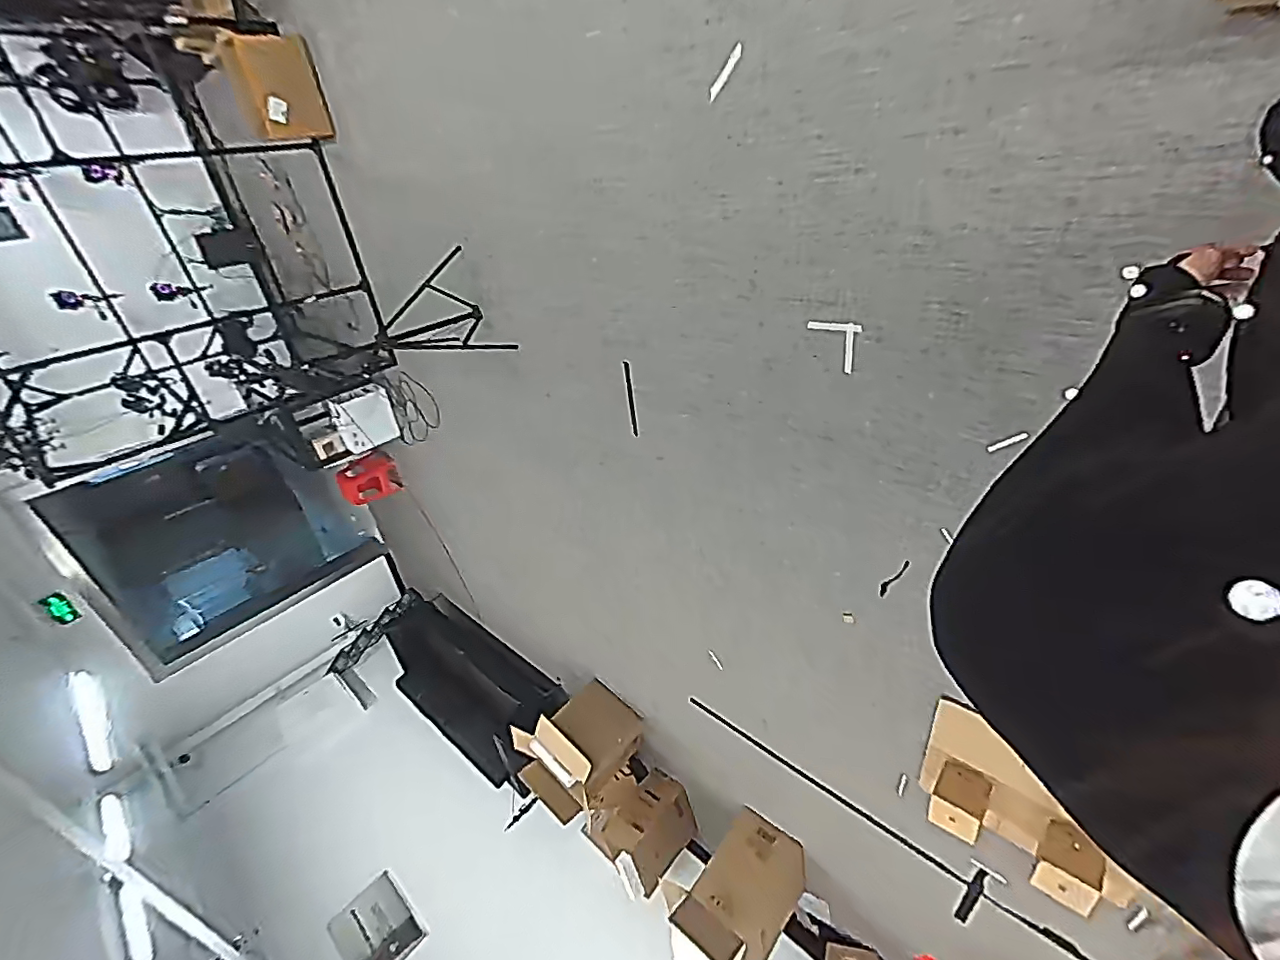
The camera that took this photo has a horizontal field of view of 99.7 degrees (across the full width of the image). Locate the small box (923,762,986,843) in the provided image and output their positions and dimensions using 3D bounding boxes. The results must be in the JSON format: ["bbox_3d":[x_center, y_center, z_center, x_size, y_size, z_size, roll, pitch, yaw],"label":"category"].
[{"bbox_3d":[1.225,1.249,2.102,0.168,0.176,0.179,16,128,40],"label":"small box"}]

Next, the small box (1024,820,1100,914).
[{"bbox_3d":[1.476,1.347,1.889,0.168,0.176,0.179,19,130,38],"label":"small box"}]
